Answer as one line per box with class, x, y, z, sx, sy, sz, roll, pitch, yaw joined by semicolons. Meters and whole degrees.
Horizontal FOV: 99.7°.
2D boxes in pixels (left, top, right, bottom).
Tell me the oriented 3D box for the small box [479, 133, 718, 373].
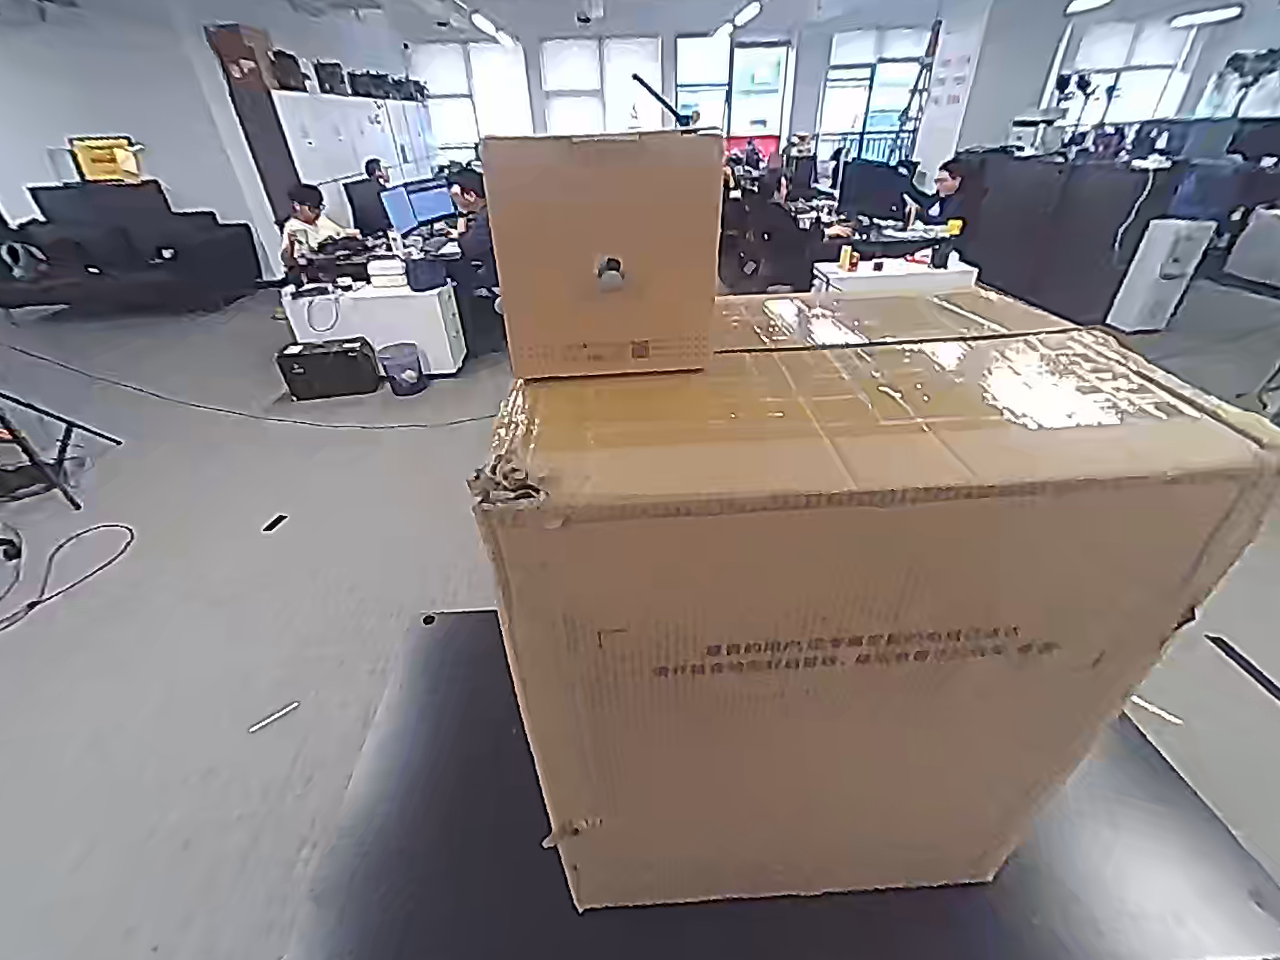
small box;-0.032;-0.198;0.472;0.168;0.176;0.179;-4;33;-5
